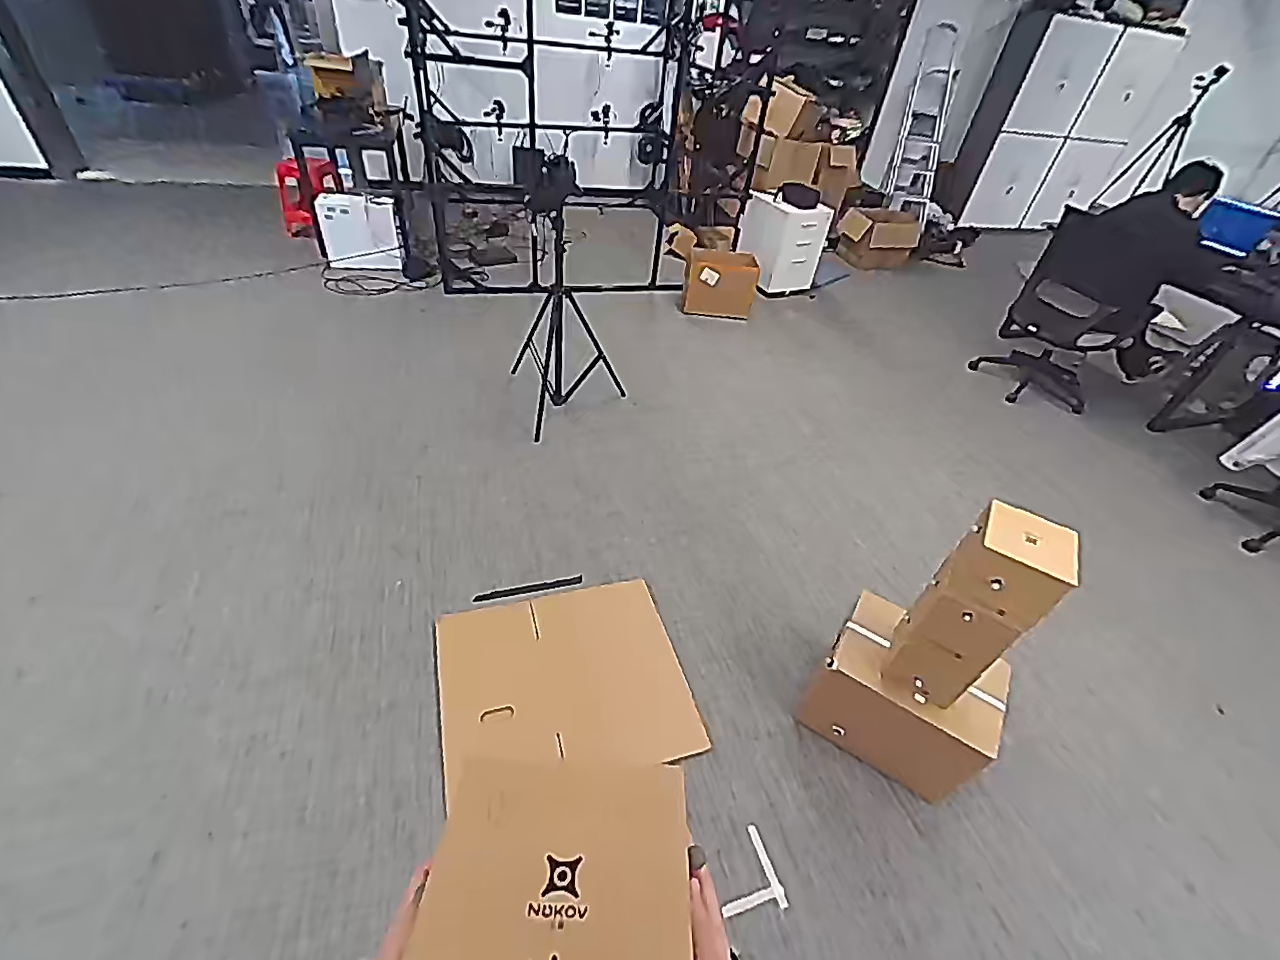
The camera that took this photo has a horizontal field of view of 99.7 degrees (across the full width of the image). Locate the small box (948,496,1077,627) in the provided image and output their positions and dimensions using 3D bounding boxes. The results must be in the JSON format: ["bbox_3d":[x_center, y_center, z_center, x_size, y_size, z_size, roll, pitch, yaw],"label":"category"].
[{"bbox_3d":[0.773,0.171,1.132,0.168,0.176,0.179,26,44,20],"label":"small box"}]

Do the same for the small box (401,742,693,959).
[{"bbox_3d":[-0.055,0.317,0.377,0.168,0.176,0.179,4,31,-1],"label":"small box"}]

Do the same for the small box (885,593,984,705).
[{"bbox_3d":[0.737,0.415,1.346,0.168,0.176,0.179,26,45,20],"label":"small box"}]

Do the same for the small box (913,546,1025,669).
[{"bbox_3d":[0.755,0.291,1.241,0.168,0.176,0.179,26,44,21],"label":"small box"}]
